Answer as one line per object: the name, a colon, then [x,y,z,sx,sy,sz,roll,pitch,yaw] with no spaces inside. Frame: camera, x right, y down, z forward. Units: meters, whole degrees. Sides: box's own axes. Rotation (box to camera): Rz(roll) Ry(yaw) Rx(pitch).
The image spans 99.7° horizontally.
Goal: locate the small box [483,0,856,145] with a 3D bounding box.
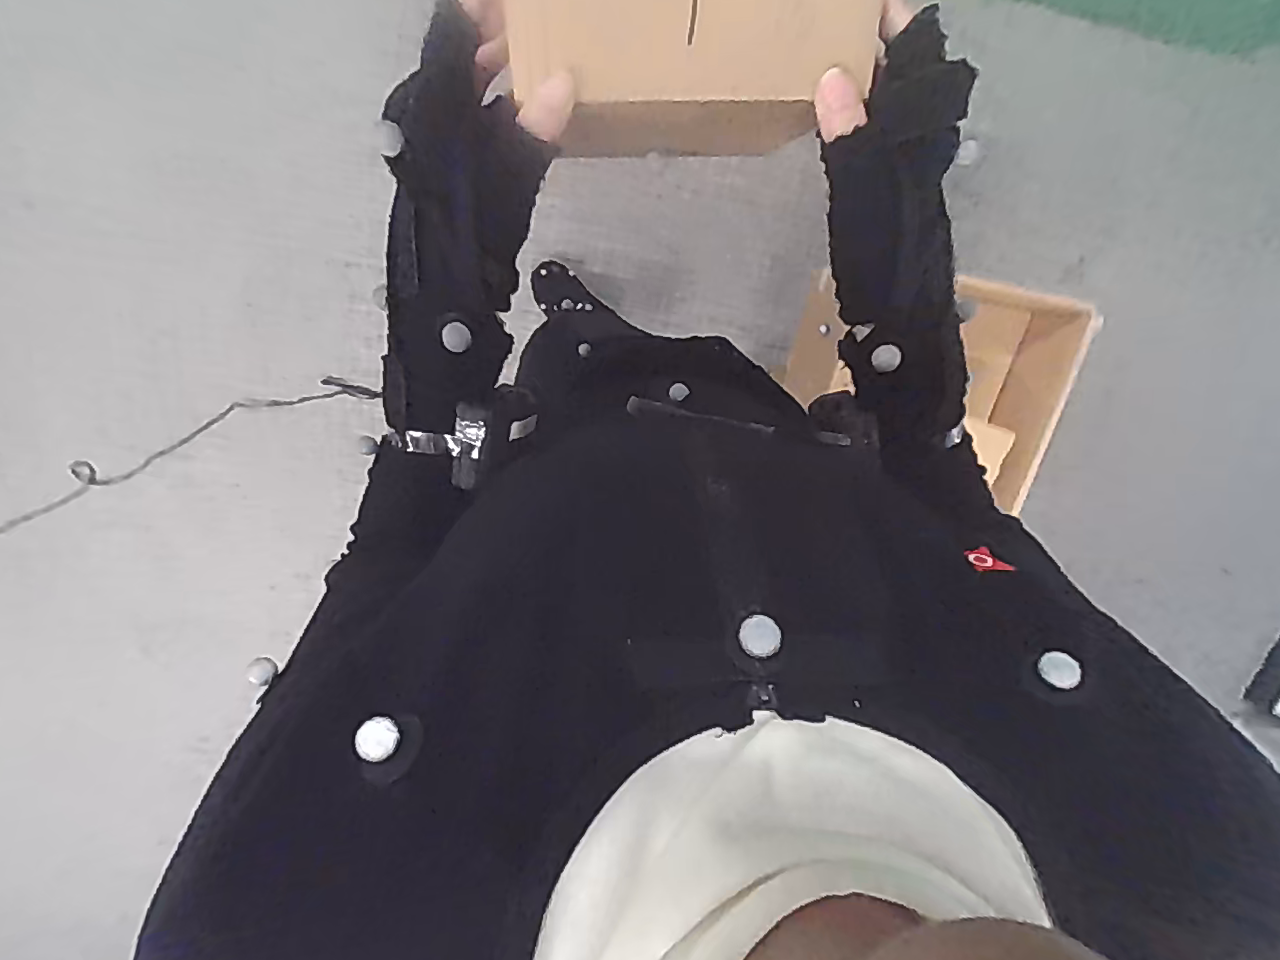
small box: [0.007,-0.291,0.283,0.168,0.176,0.179,-3,115,-3]
